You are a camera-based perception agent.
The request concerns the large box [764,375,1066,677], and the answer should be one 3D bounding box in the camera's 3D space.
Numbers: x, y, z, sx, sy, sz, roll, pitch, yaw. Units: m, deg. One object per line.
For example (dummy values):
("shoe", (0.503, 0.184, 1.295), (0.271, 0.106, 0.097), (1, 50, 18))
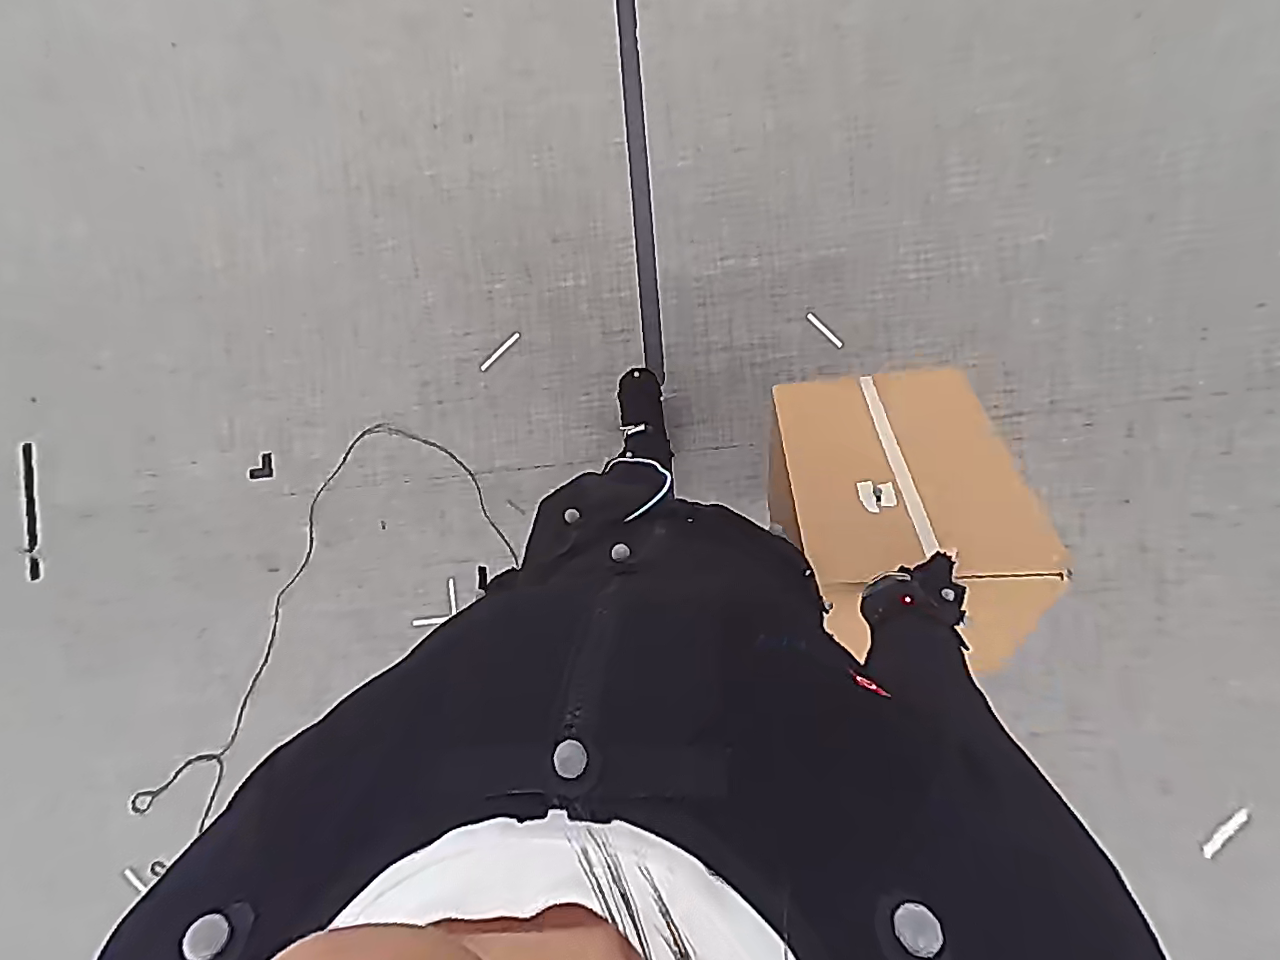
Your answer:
("large box", (0.391, 0.077, 0.911), (0.320, 0.320, 0.408), (-5, 48, 9))
